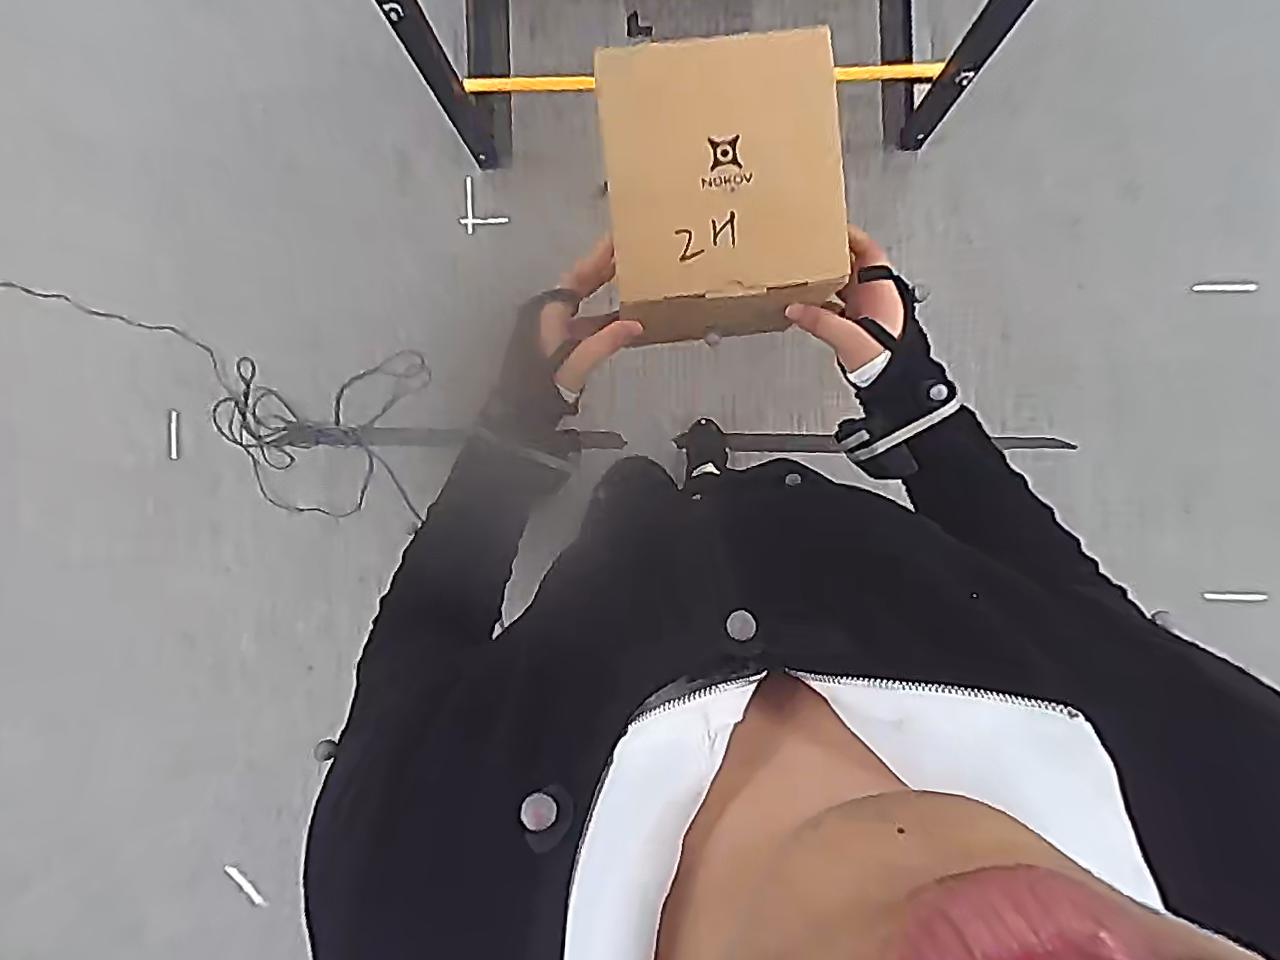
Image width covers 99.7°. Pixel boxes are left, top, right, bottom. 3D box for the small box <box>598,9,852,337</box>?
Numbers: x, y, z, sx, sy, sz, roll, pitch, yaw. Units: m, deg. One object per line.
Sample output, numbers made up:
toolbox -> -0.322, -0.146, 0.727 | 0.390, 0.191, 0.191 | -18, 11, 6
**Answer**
small box -> 0.057, -0.230, 0.450 | 0.168, 0.176, 0.179 | -6, 93, 0
